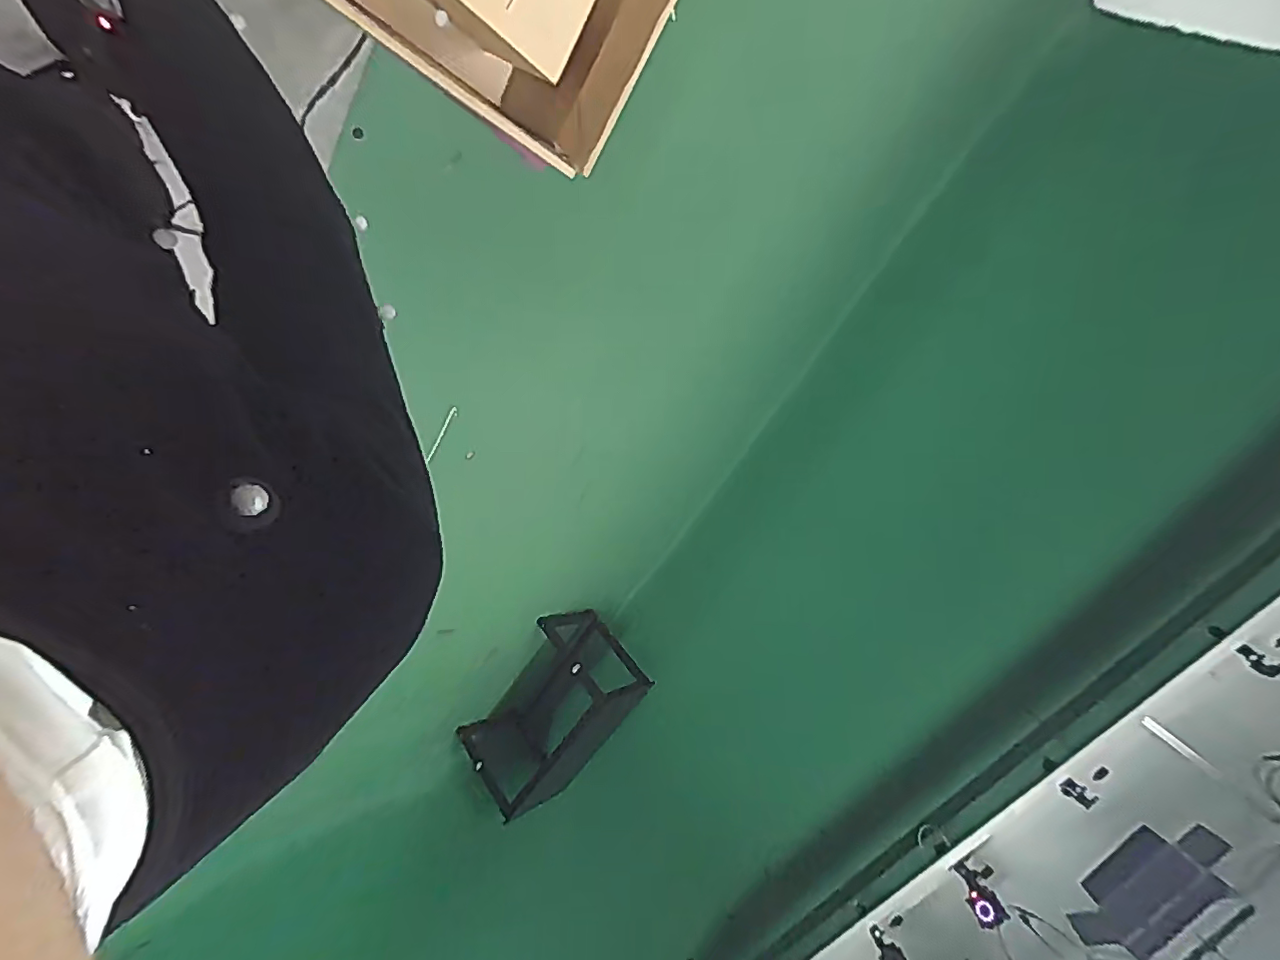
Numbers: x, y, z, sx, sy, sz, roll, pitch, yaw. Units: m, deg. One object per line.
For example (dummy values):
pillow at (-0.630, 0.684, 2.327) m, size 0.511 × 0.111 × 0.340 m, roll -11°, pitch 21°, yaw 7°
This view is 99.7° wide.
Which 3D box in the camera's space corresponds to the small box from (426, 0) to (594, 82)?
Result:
small box at (-0.149, -0.573, 0.561) m, size 0.168 × 0.176 × 0.179 m, roll 5°, pitch 124°, yaw -53°
